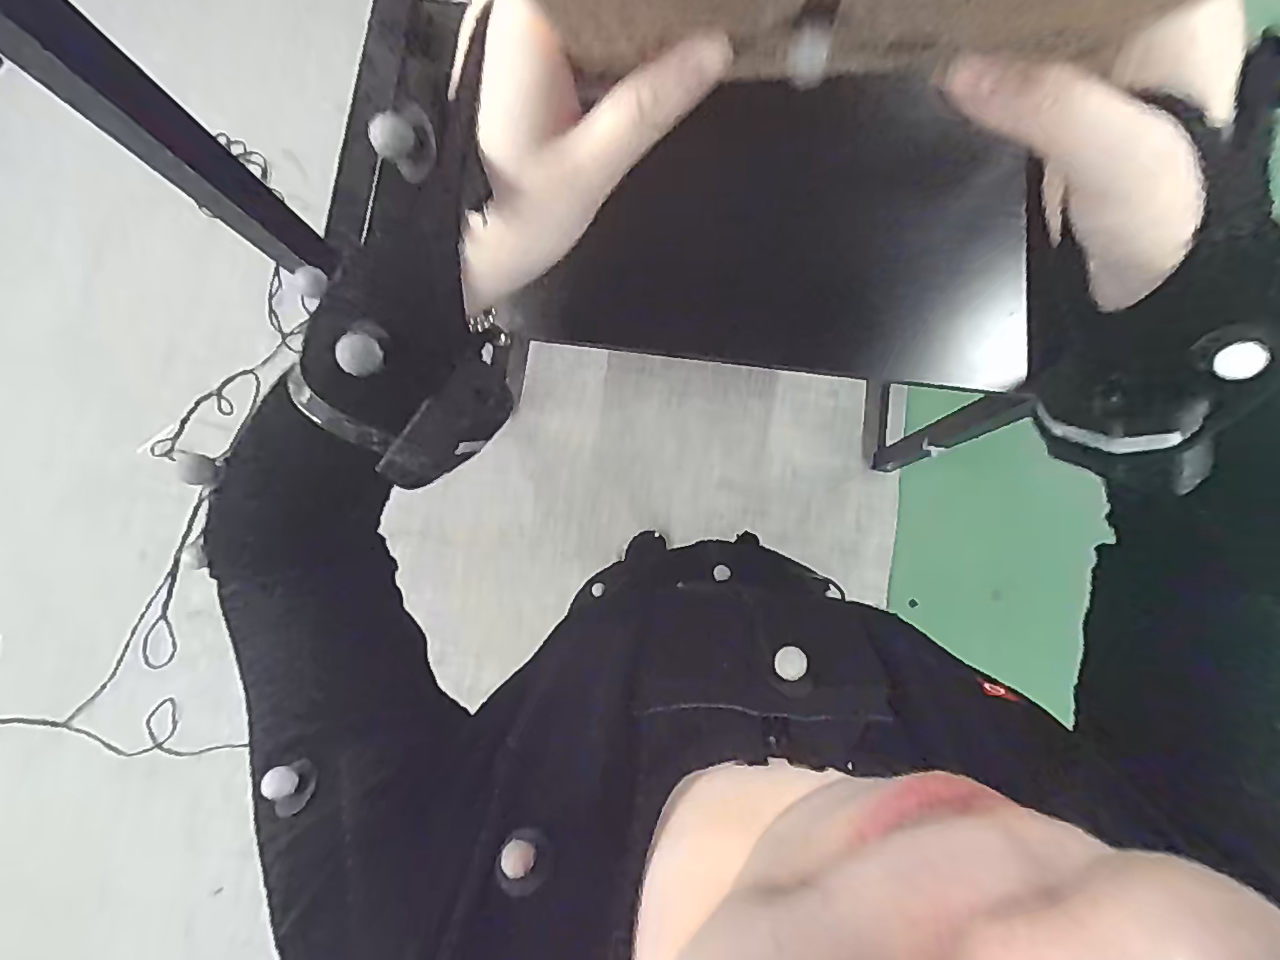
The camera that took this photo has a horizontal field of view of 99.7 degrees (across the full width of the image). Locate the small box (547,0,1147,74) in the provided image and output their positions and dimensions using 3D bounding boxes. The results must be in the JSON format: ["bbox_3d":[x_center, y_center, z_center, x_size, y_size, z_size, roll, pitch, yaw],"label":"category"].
[{"bbox_3d":[0.047,-0.181,0.073,0.168,0.176,0.179,0,120,6],"label":"small box"}]
